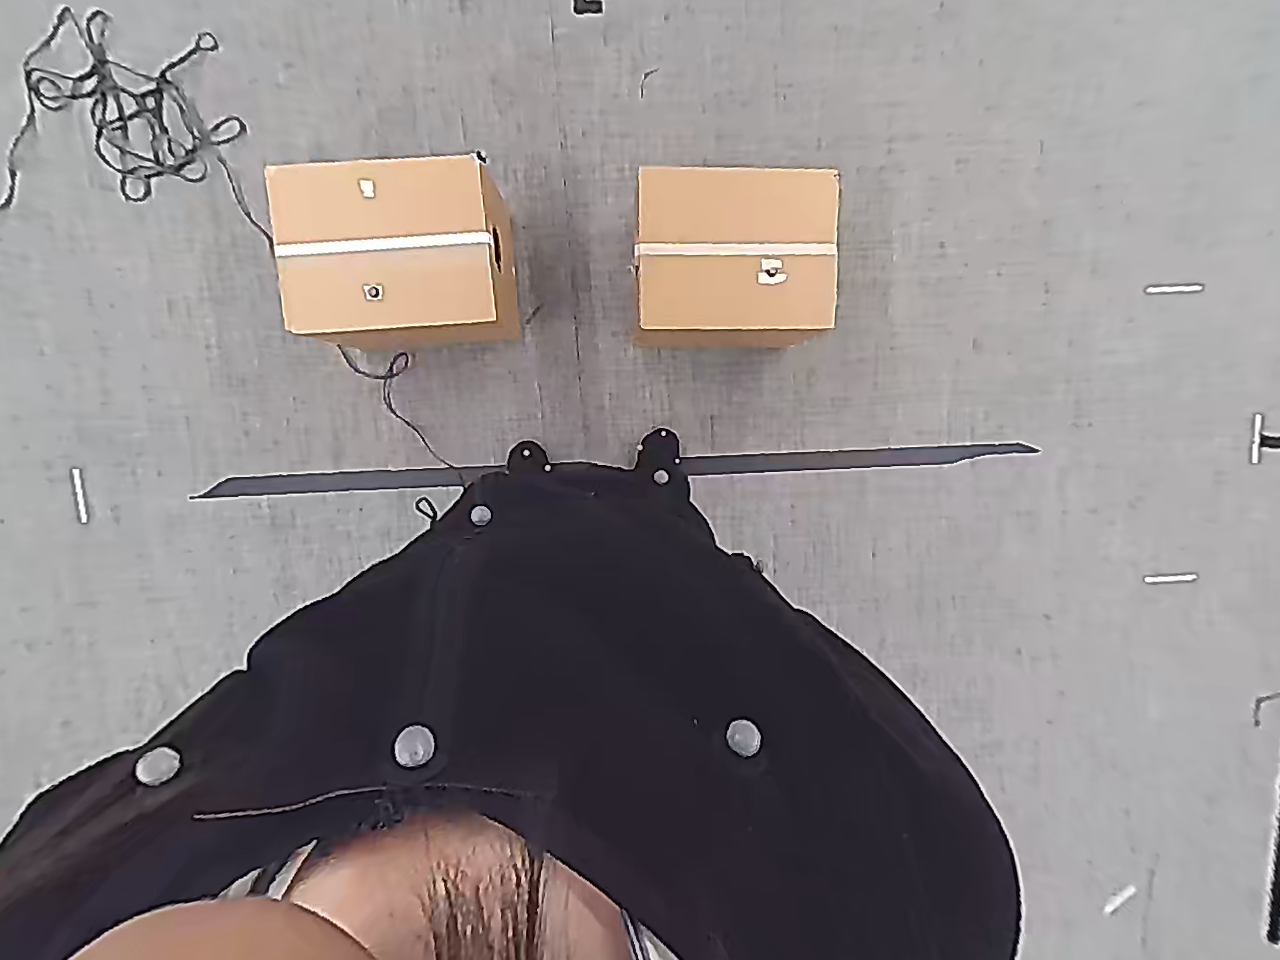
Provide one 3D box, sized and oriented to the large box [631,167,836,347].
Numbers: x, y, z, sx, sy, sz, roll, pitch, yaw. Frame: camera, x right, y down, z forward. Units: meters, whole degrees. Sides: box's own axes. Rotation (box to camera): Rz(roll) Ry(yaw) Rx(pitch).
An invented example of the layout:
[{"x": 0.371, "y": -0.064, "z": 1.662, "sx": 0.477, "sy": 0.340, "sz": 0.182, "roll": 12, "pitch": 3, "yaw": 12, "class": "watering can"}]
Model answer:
[{"x": 0.189, "y": -0.485, "z": 1.241, "sx": 0.408, "sy": 0.320, "sz": 0.320, "roll": -1, "pitch": 97, "yaw": -4, "class": "large box"}]
